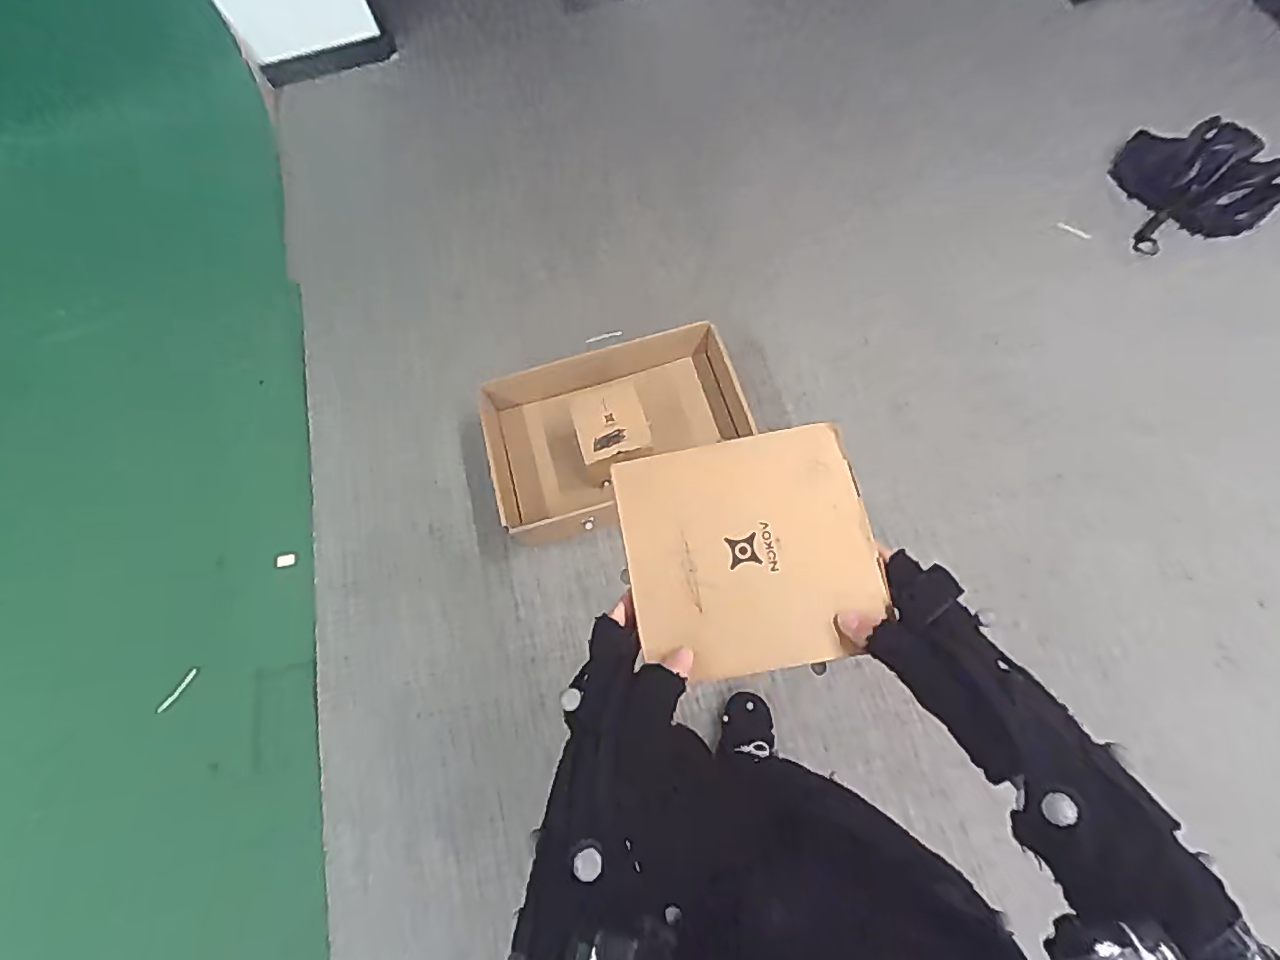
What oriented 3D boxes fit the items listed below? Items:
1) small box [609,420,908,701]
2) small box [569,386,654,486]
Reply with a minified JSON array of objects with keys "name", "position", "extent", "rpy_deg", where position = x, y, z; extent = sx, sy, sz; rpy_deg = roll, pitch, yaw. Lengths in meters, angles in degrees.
[{"name":"small box","position":[0.082,0.070,0.455],"extent":[0.179,0.176,0.168],"rpy_deg":[-15,74,0]},{"name":"small box","position":[-0.064,-0.099,1.332],"extent":[0.168,0.176,0.179],"rpy_deg":[-16,70,-2]}]
